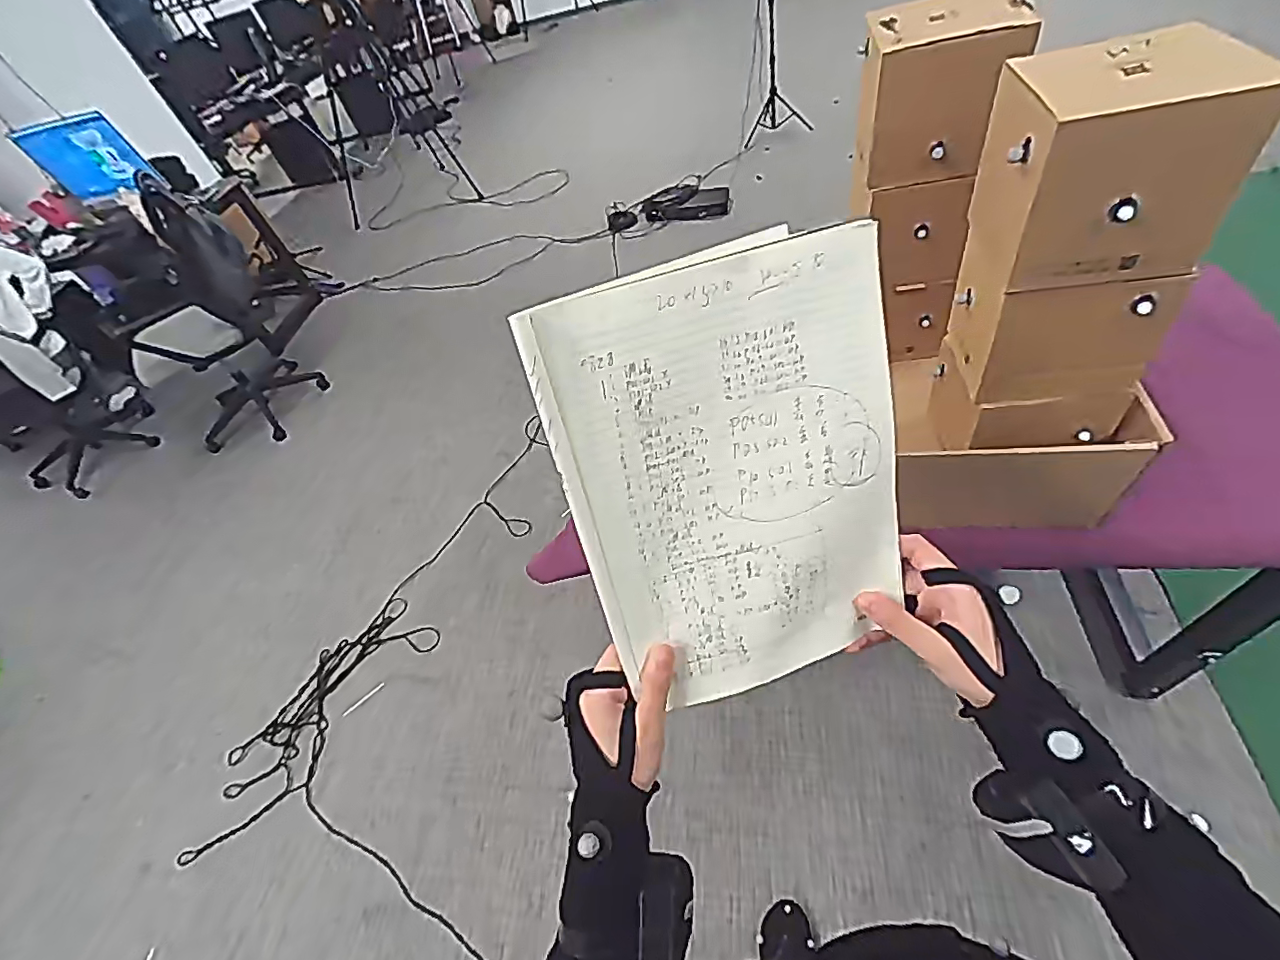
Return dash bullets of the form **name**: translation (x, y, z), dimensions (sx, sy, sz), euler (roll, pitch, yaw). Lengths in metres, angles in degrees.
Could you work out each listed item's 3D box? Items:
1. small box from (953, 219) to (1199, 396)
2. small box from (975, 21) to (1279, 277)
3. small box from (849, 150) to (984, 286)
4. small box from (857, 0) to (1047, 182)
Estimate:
- **small box**: translation (0.508, -0.218, 0.671), dimensions (0.179, 0.176, 0.168), euler (-1, 50, 15)
- **small box**: translation (0.467, -0.323, 0.550), dimensions (0.168, 0.176, 0.179), euler (-1, 50, 15)
- **small box**: translation (0.446, -0.439, 0.873), dimensions (0.179, 0.176, 0.168), euler (-3, 52, 13)
- **small box**: translation (0.411, -0.541, 0.749), dimensions (0.179, 0.176, 0.168), euler (0, 52, 13)
